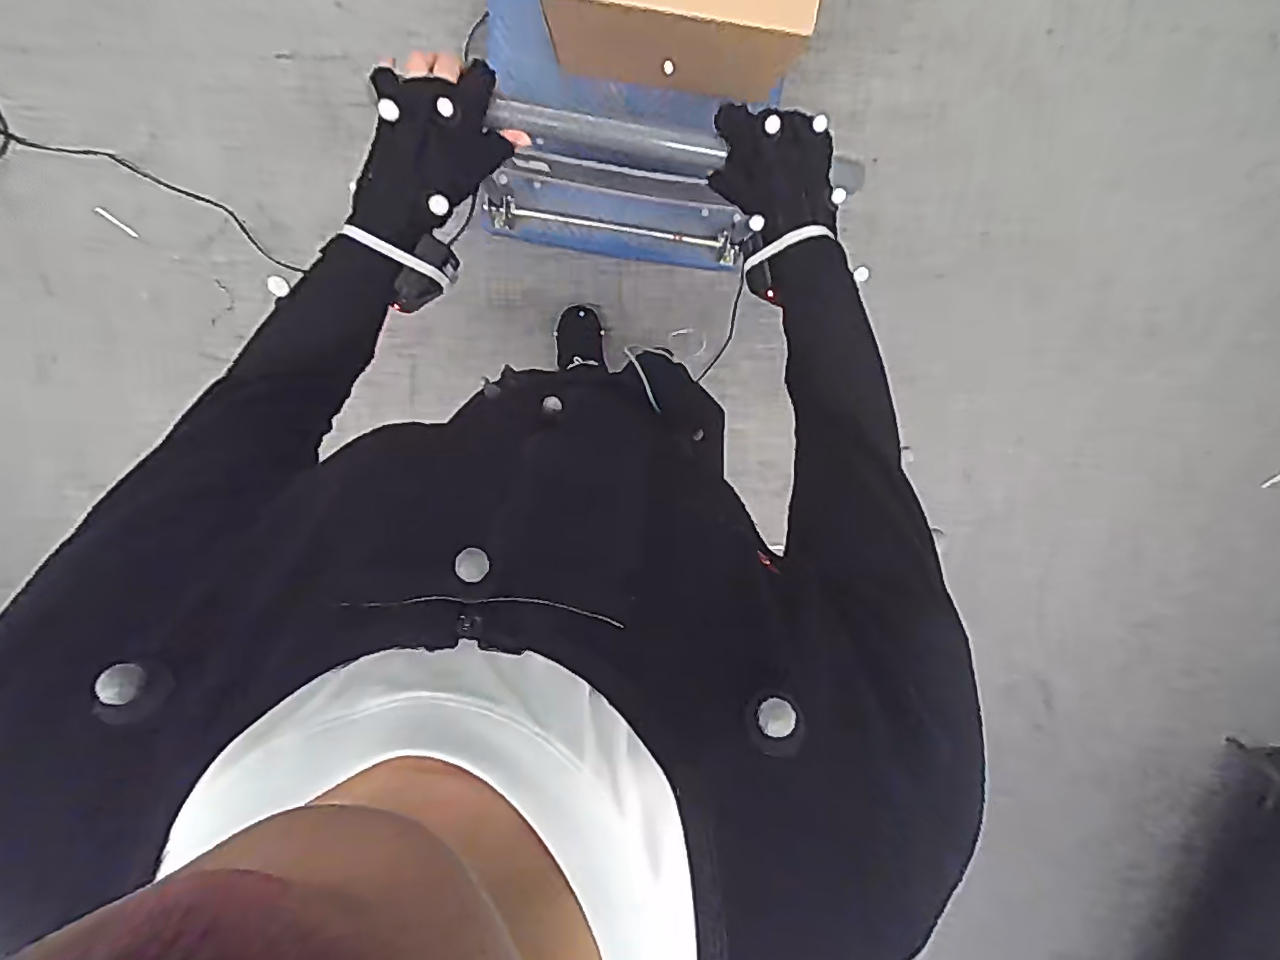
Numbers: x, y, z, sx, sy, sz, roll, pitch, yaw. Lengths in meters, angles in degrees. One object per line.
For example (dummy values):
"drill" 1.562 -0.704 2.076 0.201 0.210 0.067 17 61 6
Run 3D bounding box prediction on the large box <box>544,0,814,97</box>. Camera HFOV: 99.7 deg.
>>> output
"large box" 0.070 -0.873 0.882 0.408 0.320 0.320 7 108 -3
